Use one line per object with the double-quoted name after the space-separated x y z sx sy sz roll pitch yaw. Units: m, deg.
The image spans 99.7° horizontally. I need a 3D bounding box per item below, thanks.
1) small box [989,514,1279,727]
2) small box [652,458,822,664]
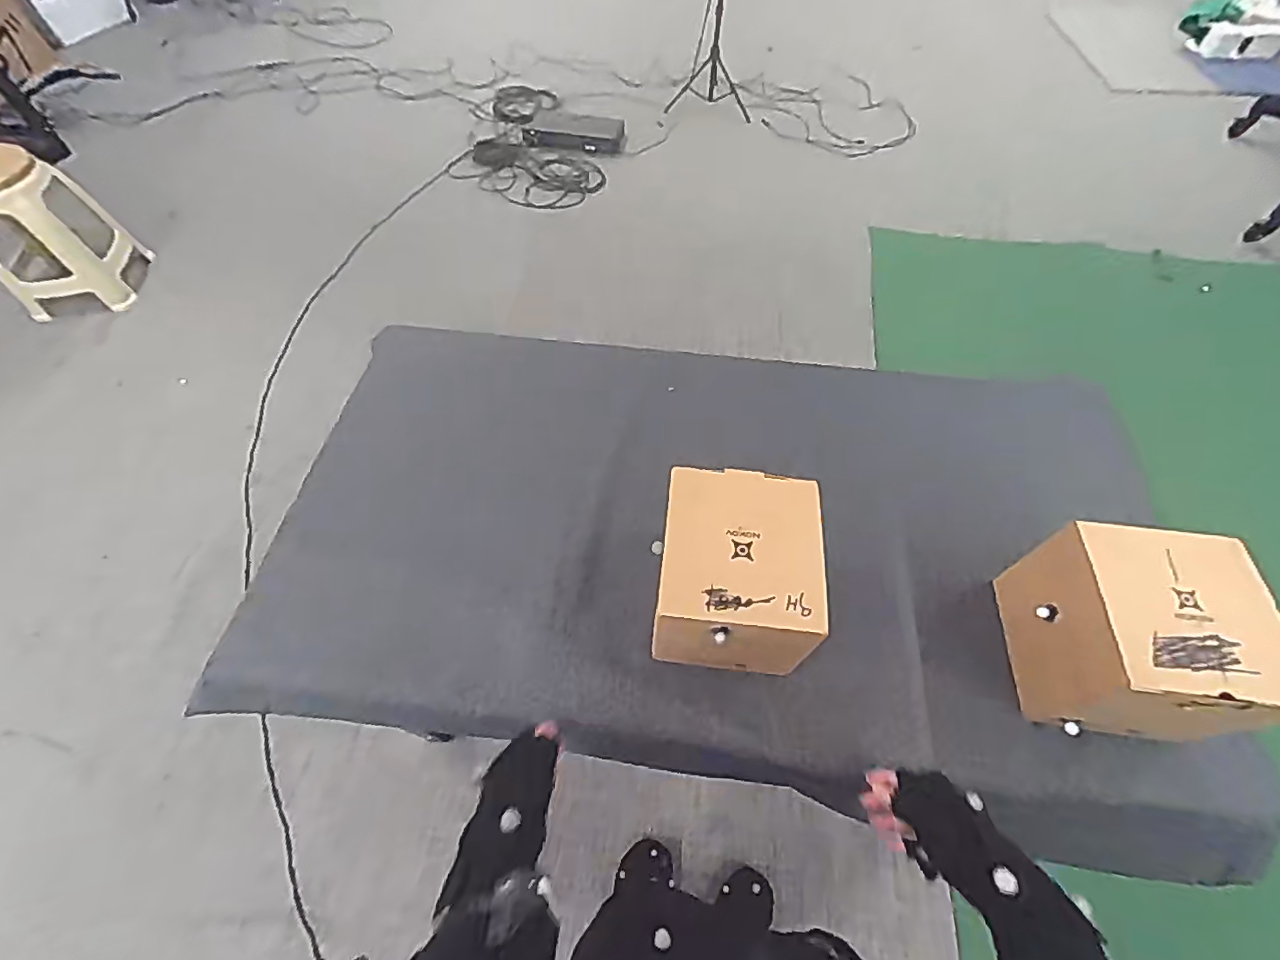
0.526 0.161 0.599 0.168 0.176 0.179 7 57 5 "small box"
0.105 0.099 0.636 0.168 0.176 0.179 6 58 4 "small box"
